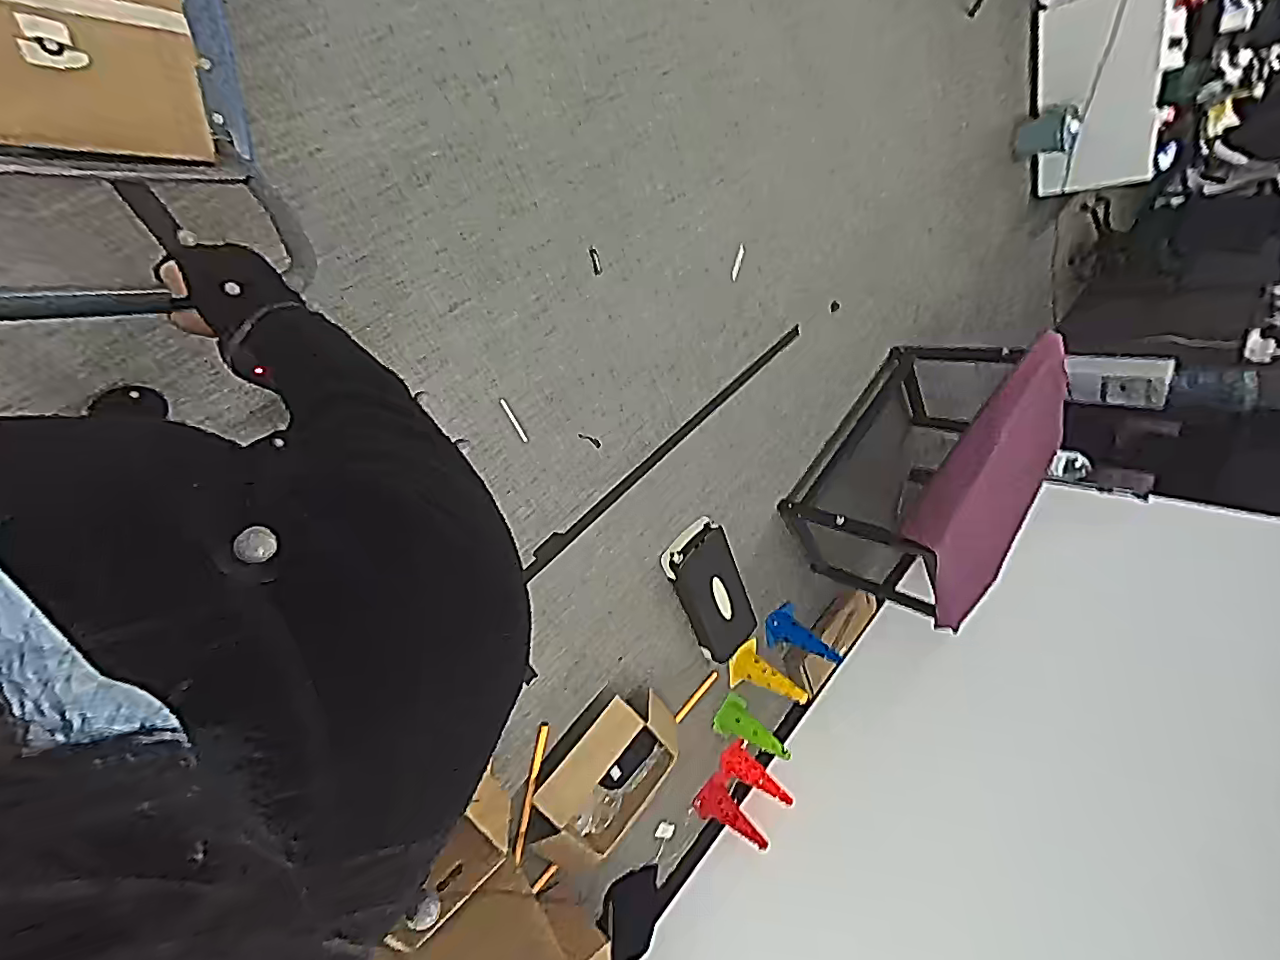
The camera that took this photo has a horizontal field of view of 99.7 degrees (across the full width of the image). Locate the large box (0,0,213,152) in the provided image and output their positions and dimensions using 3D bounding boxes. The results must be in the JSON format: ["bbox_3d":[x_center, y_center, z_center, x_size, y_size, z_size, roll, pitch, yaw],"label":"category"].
[{"bbox_3d":[-0.847,-0.620,0.680,0.408,0.320,0.320,-19,132,-36],"label":"large box"}]
